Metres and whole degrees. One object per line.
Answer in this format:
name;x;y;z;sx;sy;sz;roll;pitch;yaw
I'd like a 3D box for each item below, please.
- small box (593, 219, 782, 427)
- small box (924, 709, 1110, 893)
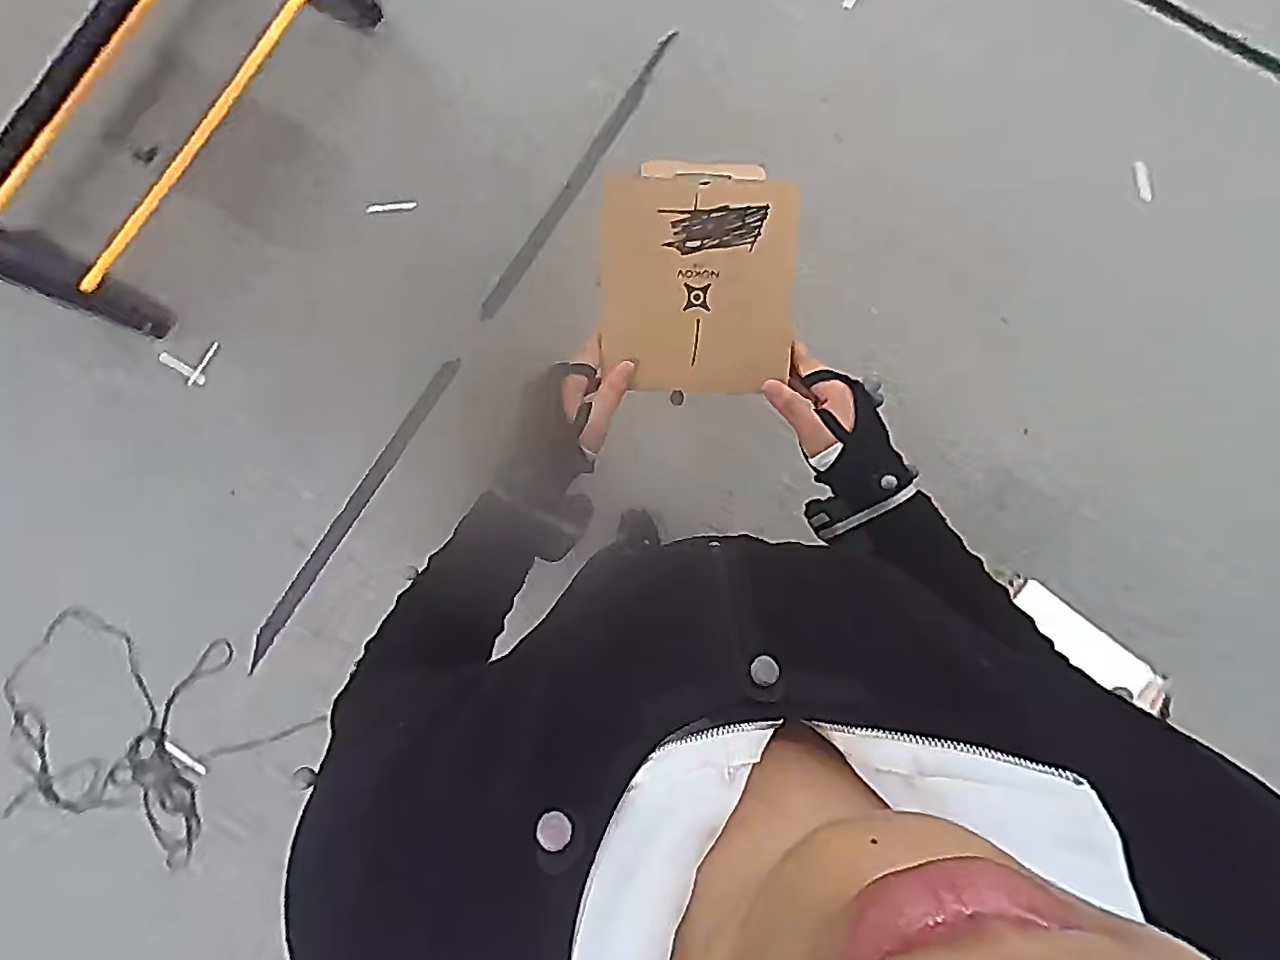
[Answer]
small box;0.038;-0.149;0.553;0.168;0.176;0.179;0;101;-1
small box;0.630;0.538;0.934;0.168;0.176;0.179;35;87;3
